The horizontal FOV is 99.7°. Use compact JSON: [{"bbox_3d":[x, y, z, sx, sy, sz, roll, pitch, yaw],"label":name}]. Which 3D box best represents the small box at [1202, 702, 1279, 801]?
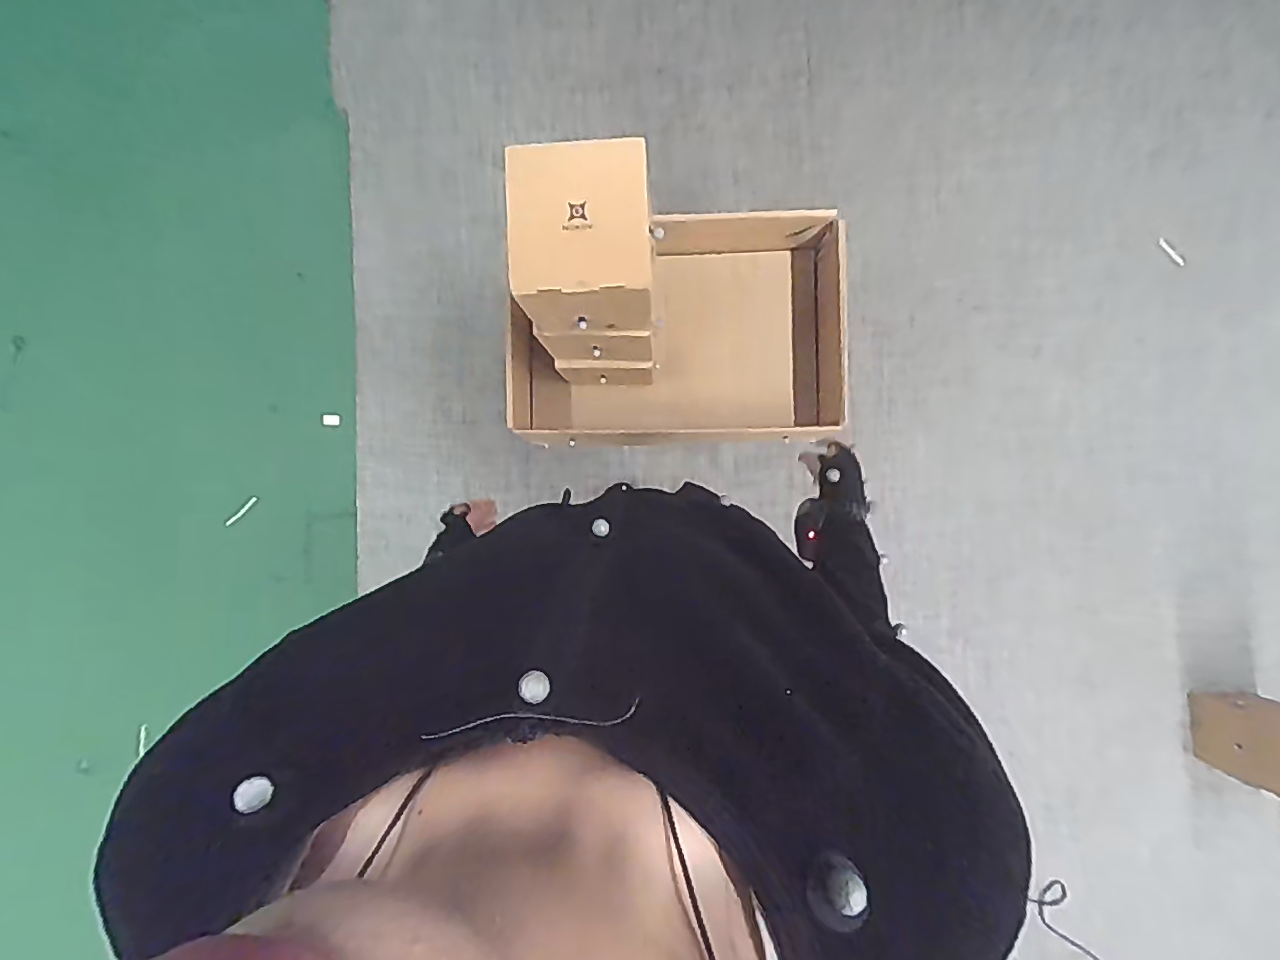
[{"bbox_3d":[1.570,0.668,1.351,0.168,0.176,0.179,-3,89,3],"label":"small box"}]

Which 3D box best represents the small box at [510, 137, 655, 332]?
[{"bbox_3d":[-0.065,-0.305,0.700,0.168,0.176,0.179,-2,89,3],"label":"small box"}]

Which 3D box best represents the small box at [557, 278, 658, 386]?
[{"bbox_3d":[-0.055,-0.276,1.026,0.179,0.176,0.168,1,89,2],"label":"small box"}]
